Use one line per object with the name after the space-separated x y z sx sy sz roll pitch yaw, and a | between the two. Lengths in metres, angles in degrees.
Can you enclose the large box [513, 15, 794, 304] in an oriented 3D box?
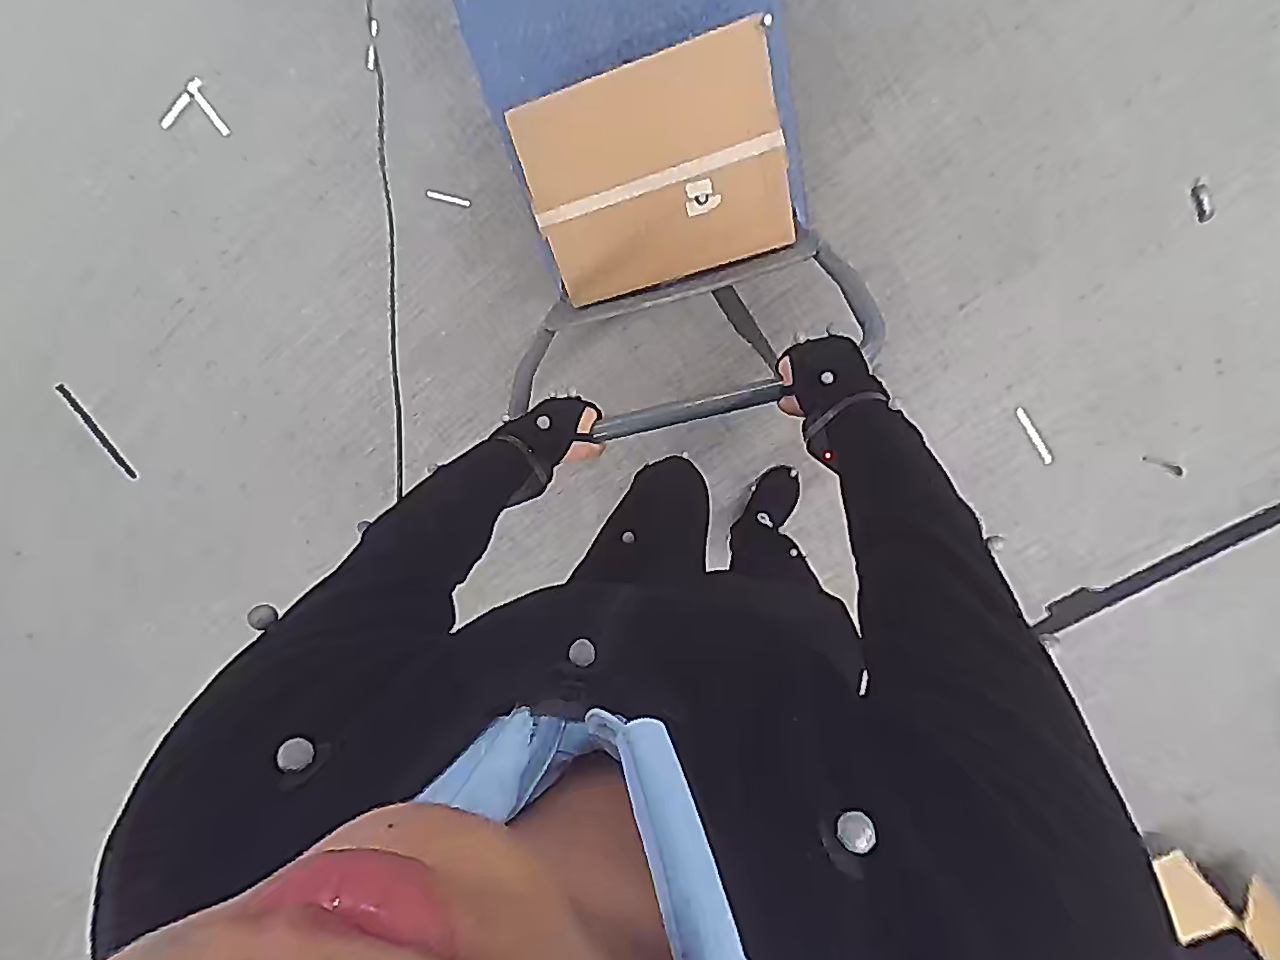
0.036 -0.569 1.014 0.408 0.320 0.320 -14 120 12 | large box
